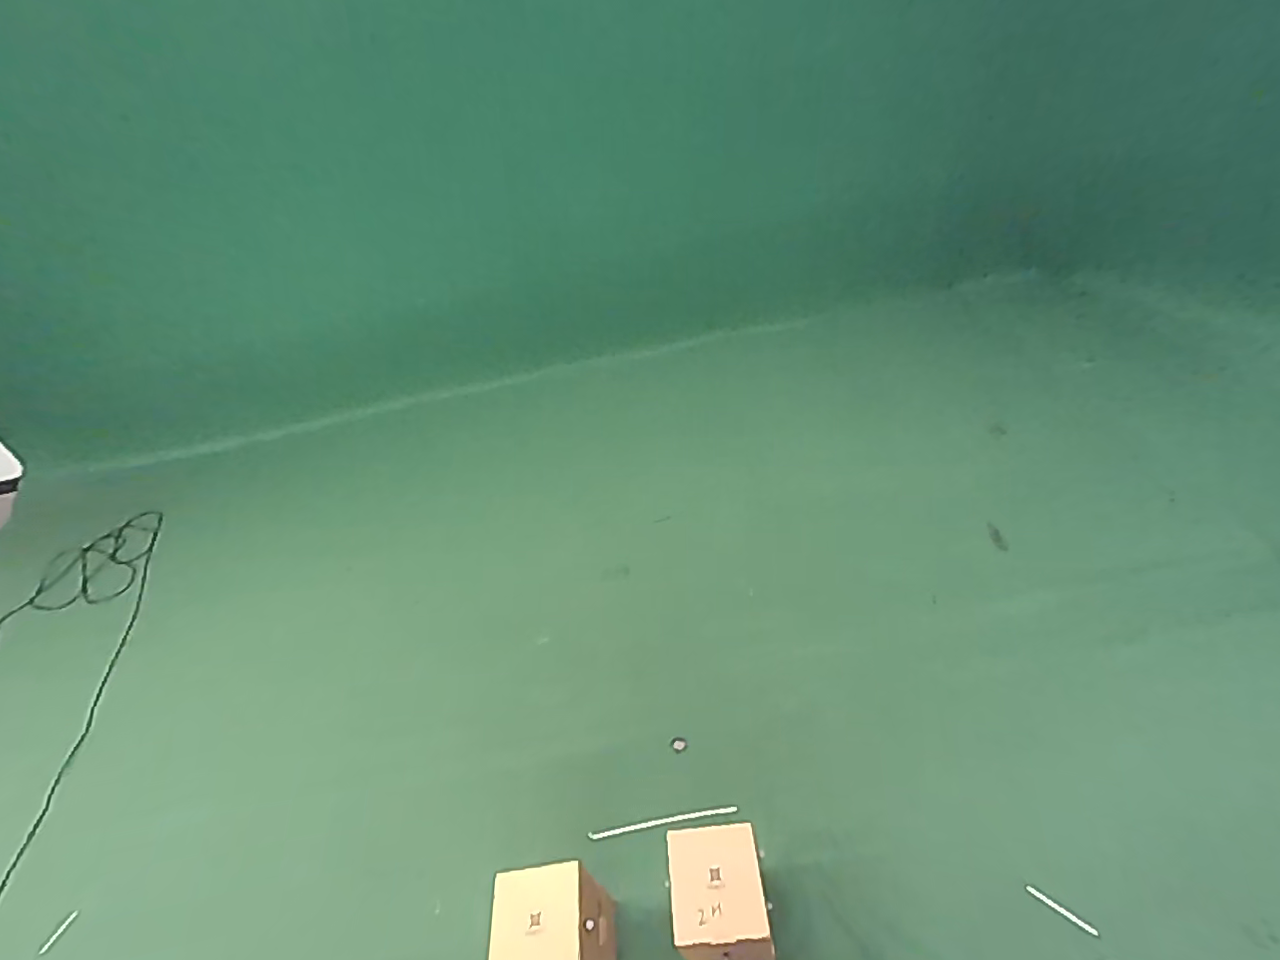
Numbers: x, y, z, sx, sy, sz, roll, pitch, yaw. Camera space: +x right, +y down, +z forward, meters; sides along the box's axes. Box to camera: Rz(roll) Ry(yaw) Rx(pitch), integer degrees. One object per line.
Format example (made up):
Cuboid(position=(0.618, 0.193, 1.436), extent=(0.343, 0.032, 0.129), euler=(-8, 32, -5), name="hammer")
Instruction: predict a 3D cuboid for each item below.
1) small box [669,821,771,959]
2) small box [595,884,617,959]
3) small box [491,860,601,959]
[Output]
Cuboid(position=(0.151, 0.782, 1.032), extent=(0.168, 0.176, 0.179), euler=(-9, 41, 5), name="small box")
Cuboid(position=(-0.145, 0.981, 1.139), extent=(0.179, 0.176, 0.168), euler=(-12, 40, 3), name="small box")
Cuboid(position=(-0.172, 0.862, 1.031), extent=(0.168, 0.176, 0.179), euler=(-11, 41, 3), name="small box")
